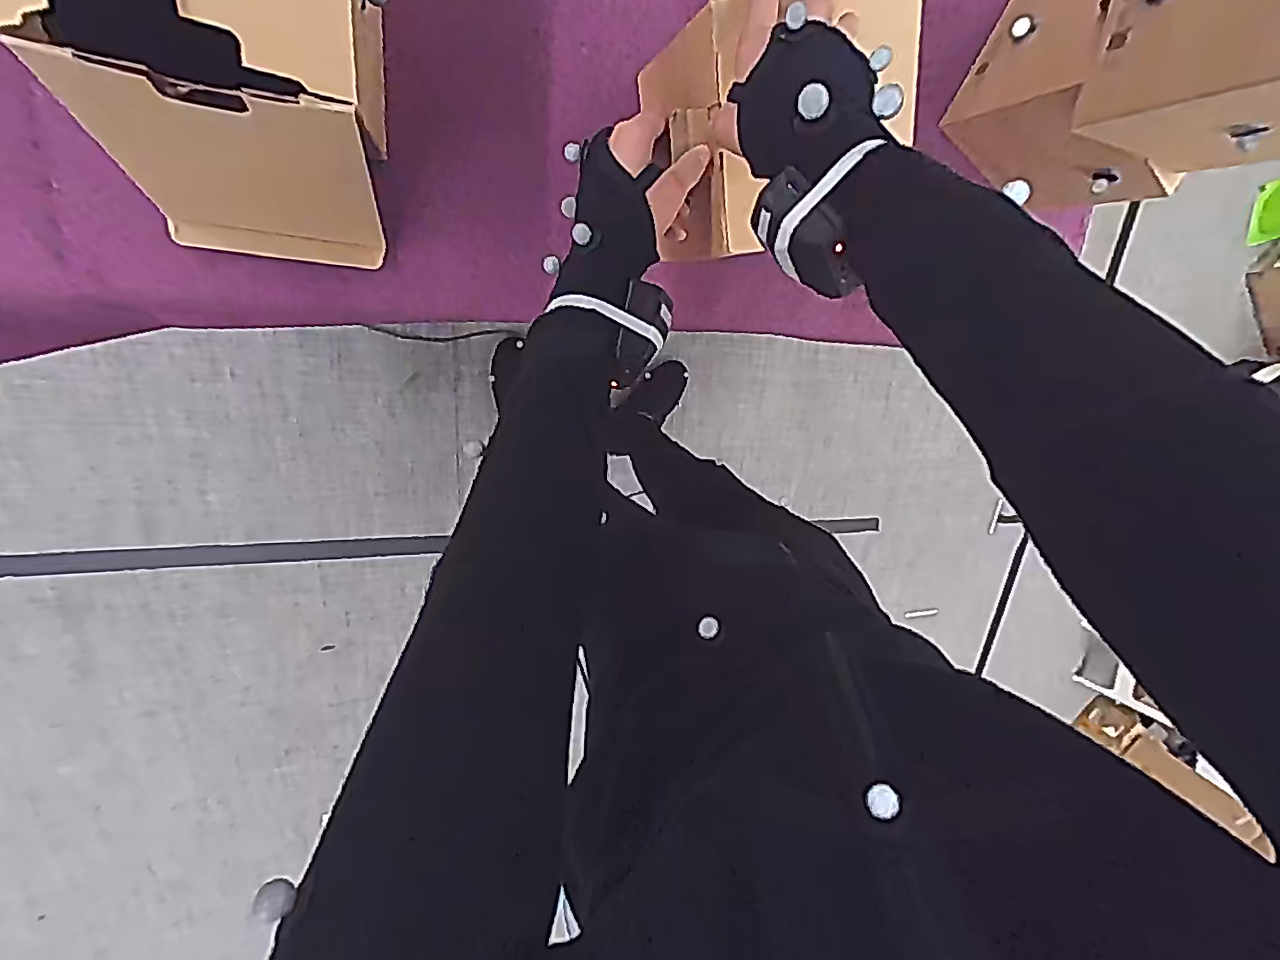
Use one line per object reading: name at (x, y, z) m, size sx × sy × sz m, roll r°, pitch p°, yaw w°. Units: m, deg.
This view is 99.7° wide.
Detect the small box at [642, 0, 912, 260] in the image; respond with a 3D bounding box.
small box at (0.108, -0.296, 0.488) m, size 0.179 × 0.176 × 0.168 m, roll -13°, pitch 114°, yaw -14°

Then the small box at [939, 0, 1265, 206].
small box at (0.467, -0.412, 0.567) m, size 0.179 × 0.176 × 0.168 m, roll 25°, pitch 100°, yaw -25°
